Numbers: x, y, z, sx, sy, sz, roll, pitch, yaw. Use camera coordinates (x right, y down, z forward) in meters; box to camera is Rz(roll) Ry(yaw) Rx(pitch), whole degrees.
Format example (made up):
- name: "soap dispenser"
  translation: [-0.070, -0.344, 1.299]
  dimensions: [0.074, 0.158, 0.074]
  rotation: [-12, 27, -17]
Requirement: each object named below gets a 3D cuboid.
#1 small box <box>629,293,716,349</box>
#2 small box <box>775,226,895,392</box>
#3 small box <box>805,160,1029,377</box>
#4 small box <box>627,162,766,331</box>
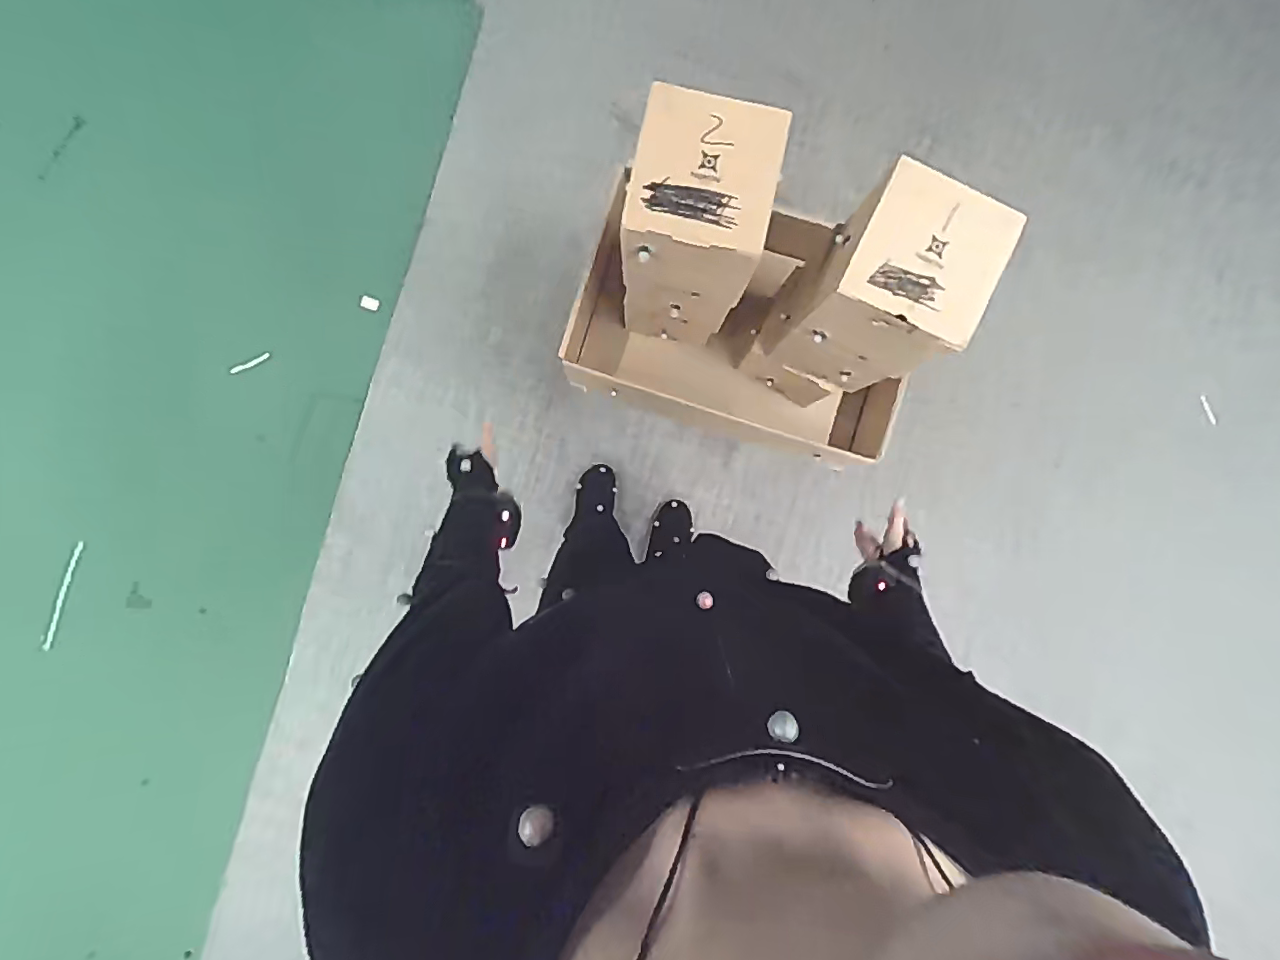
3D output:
- name: "small box"
  translation: [0.080, -0.369, 1.020]
  dimensions: [0.168, 0.176, 0.179]
  rotation: [14, 89, 1]
- name: "small box"
  translation: [0.331, -0.256, 0.858]
  dimensions: [0.168, 0.176, 0.179]
  rotation: [24, 90, 0]
- name: "small box"
  translation: [0.333, -0.252, 0.694]
  dimensions: [0.168, 0.176, 0.179]
  rotation: [27, 89, 0]
- name: "small box"
  translation: [0.083, -0.355, 0.857]
  dimensions: [0.168, 0.176, 0.179]
  rotation: [15, 90, 0]
